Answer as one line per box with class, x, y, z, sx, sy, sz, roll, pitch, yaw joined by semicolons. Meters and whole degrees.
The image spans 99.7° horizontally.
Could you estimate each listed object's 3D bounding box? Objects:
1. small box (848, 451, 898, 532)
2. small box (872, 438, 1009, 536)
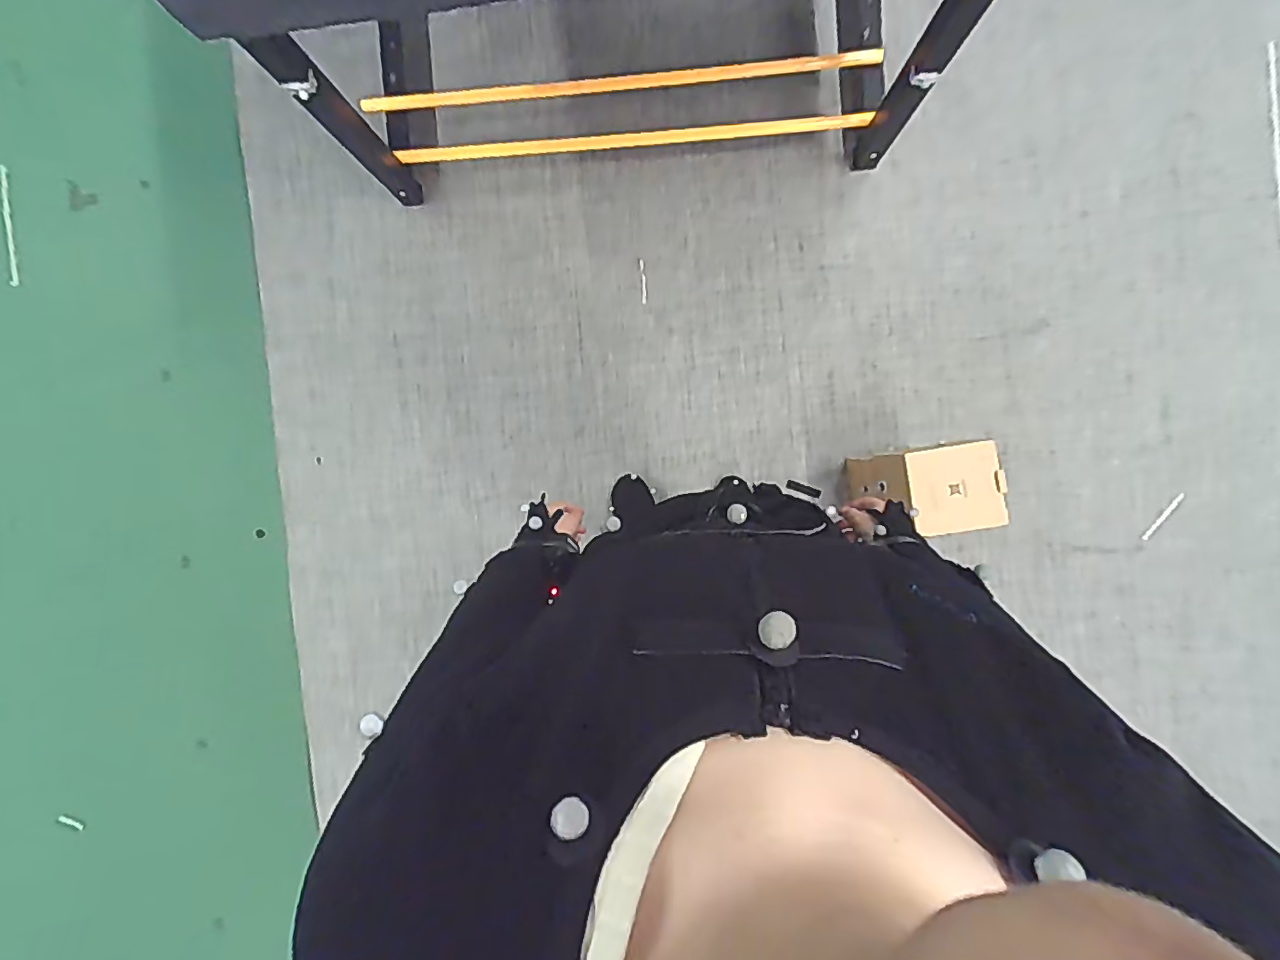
small box;0.603;0.017;1.262;0.168;0.176;0.179;-10;91;3
small box;0.600;0.010;1.099;0.179;0.176;0.168;-10;90;3
